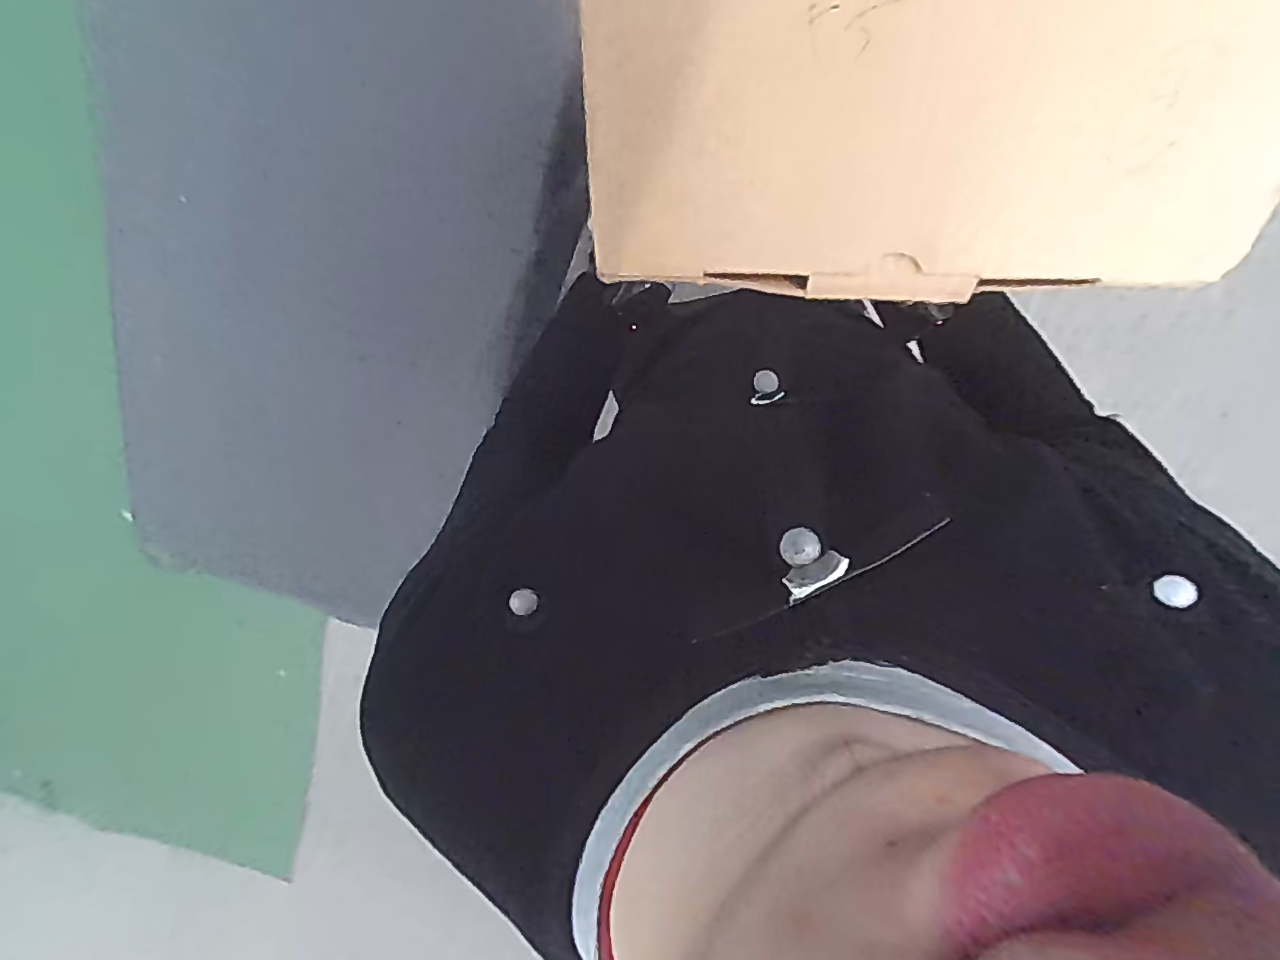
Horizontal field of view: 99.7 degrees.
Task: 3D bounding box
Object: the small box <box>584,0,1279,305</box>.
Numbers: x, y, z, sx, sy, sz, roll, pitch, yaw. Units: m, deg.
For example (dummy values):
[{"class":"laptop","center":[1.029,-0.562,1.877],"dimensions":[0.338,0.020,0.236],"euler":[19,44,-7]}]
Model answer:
[{"class":"small box","center":[0.077,-0.167,0.163],"dimensions":[0.168,0.176,0.179],"euler":[3,124,4]}]
